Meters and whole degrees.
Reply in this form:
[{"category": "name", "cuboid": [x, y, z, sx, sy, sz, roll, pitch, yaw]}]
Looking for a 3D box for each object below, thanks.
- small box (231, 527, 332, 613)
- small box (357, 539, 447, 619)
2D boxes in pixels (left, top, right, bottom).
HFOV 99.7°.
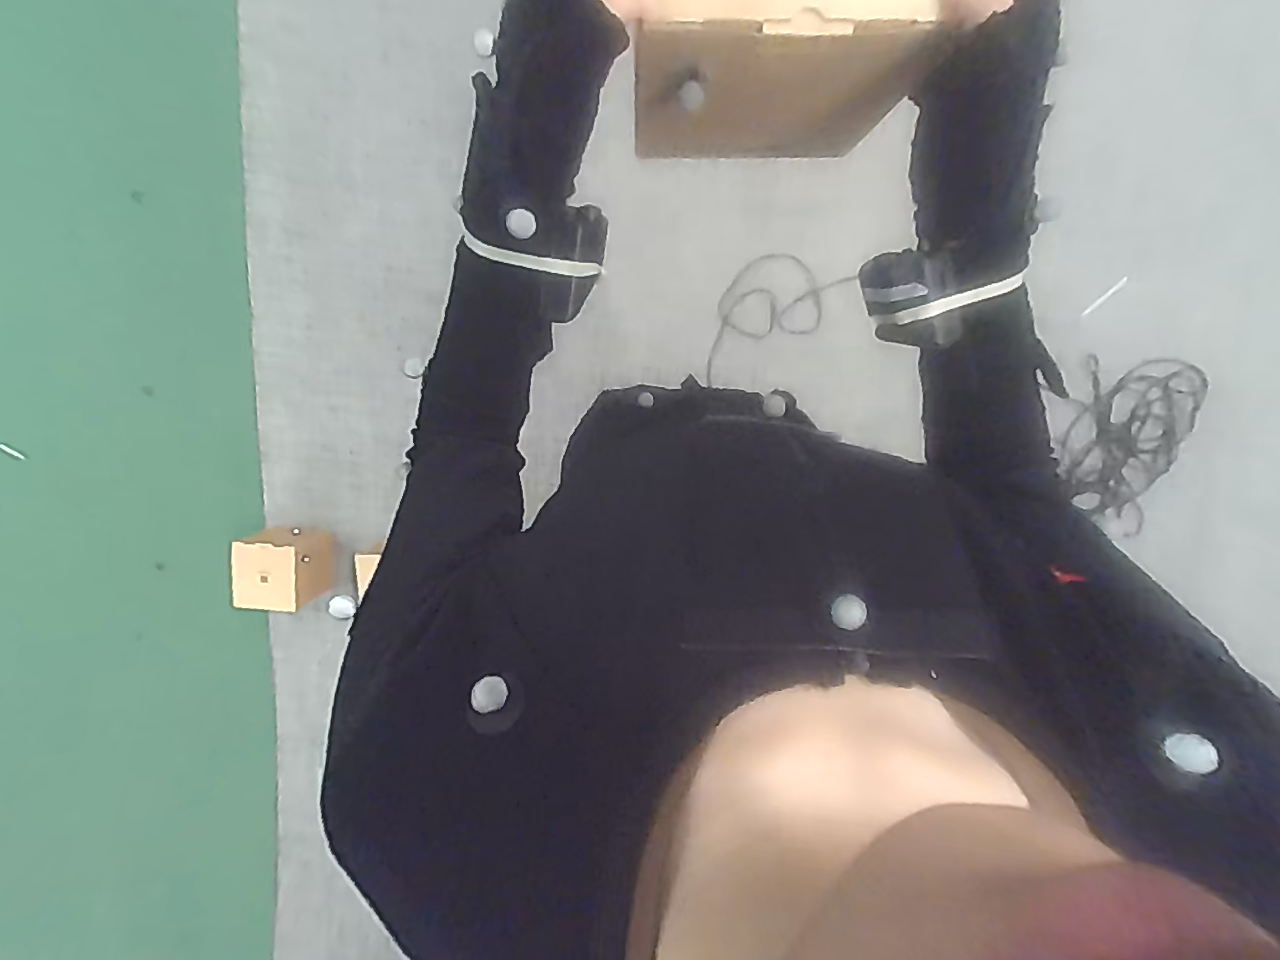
[{"category": "small box", "cuboid": [-0.952, 0.237, 1.448, 0.168, 0.176, 0.179, 5, 98, -1]}, {"category": "small box", "cuboid": [-0.629, 0.258, 1.445, 0.168, 0.176, 0.179, 0, 99, 1]}]
